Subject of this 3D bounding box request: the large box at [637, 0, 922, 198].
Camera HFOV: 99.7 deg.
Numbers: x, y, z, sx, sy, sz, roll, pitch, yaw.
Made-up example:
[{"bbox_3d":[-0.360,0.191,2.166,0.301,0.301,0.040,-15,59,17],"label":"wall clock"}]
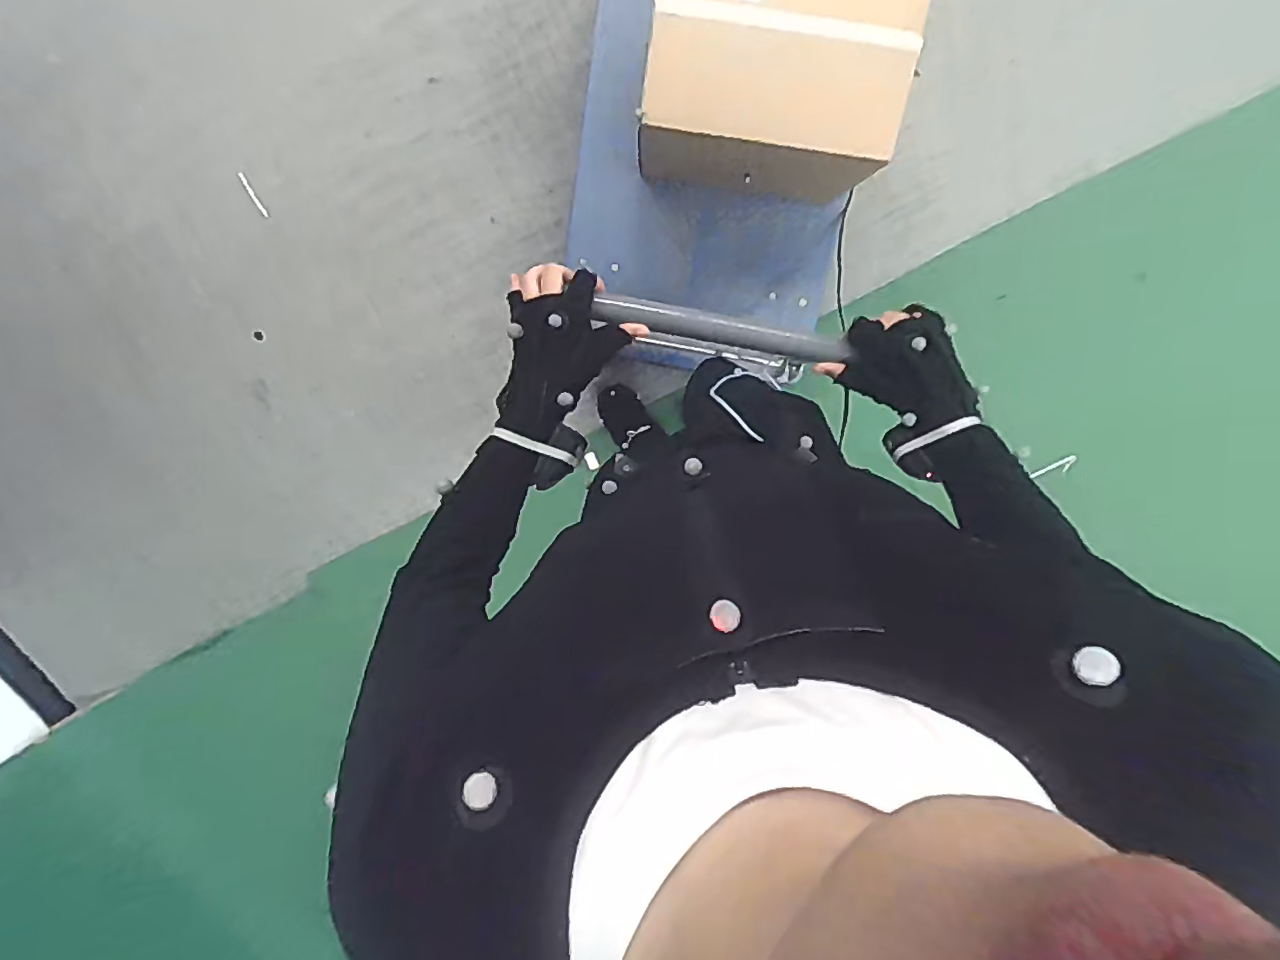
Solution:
[{"bbox_3d":[0.217,-0.715,0.951,0.408,0.320,0.320,8,105,0],"label":"large box"}]
